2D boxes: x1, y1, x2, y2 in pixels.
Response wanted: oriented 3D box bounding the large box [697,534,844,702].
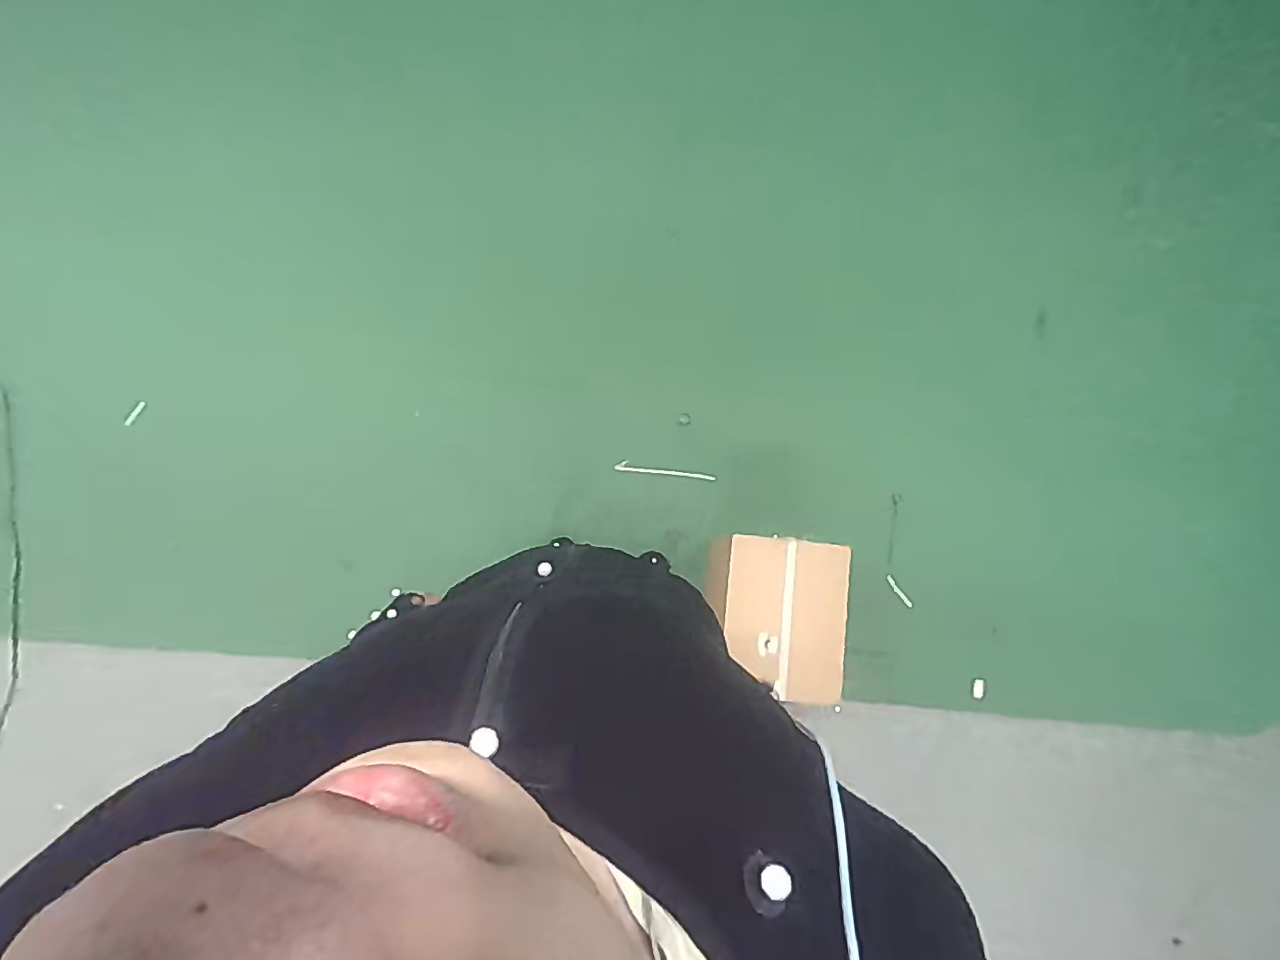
[{"bbox_3d":[0.350,0.363,1.518,0.320,0.320,0.408,6,83,-3],"label":"large box"}]
